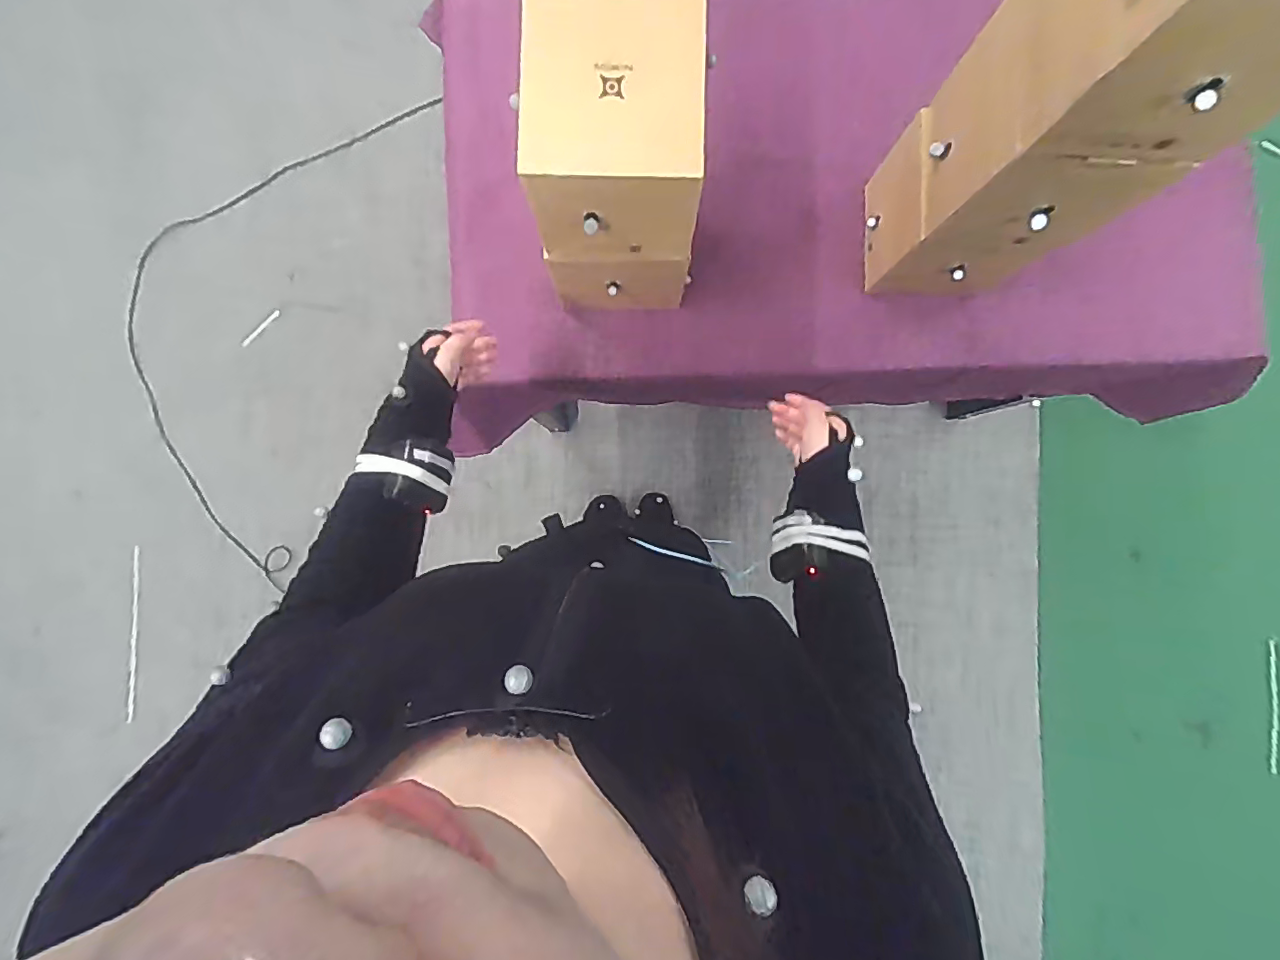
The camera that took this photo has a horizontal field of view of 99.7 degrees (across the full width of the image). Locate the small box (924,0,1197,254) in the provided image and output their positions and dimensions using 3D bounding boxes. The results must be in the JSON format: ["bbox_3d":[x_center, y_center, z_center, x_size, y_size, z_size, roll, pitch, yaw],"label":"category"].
[{"bbox_3d":[0.422,-0.357,0.563,0.168,0.176,0.179,5,88,0],"label":"small box"}]

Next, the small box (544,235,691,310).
[{"bbox_3d":[-0.027,-0.337,0.723,0.179,0.176,0.168,0,88,0],"label":"small box"}]

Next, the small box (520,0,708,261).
[{"bbox_3d":[-0.022,-0.345,0.560,0.168,0.176,0.179,2,87,0],"label":"small box"}]
